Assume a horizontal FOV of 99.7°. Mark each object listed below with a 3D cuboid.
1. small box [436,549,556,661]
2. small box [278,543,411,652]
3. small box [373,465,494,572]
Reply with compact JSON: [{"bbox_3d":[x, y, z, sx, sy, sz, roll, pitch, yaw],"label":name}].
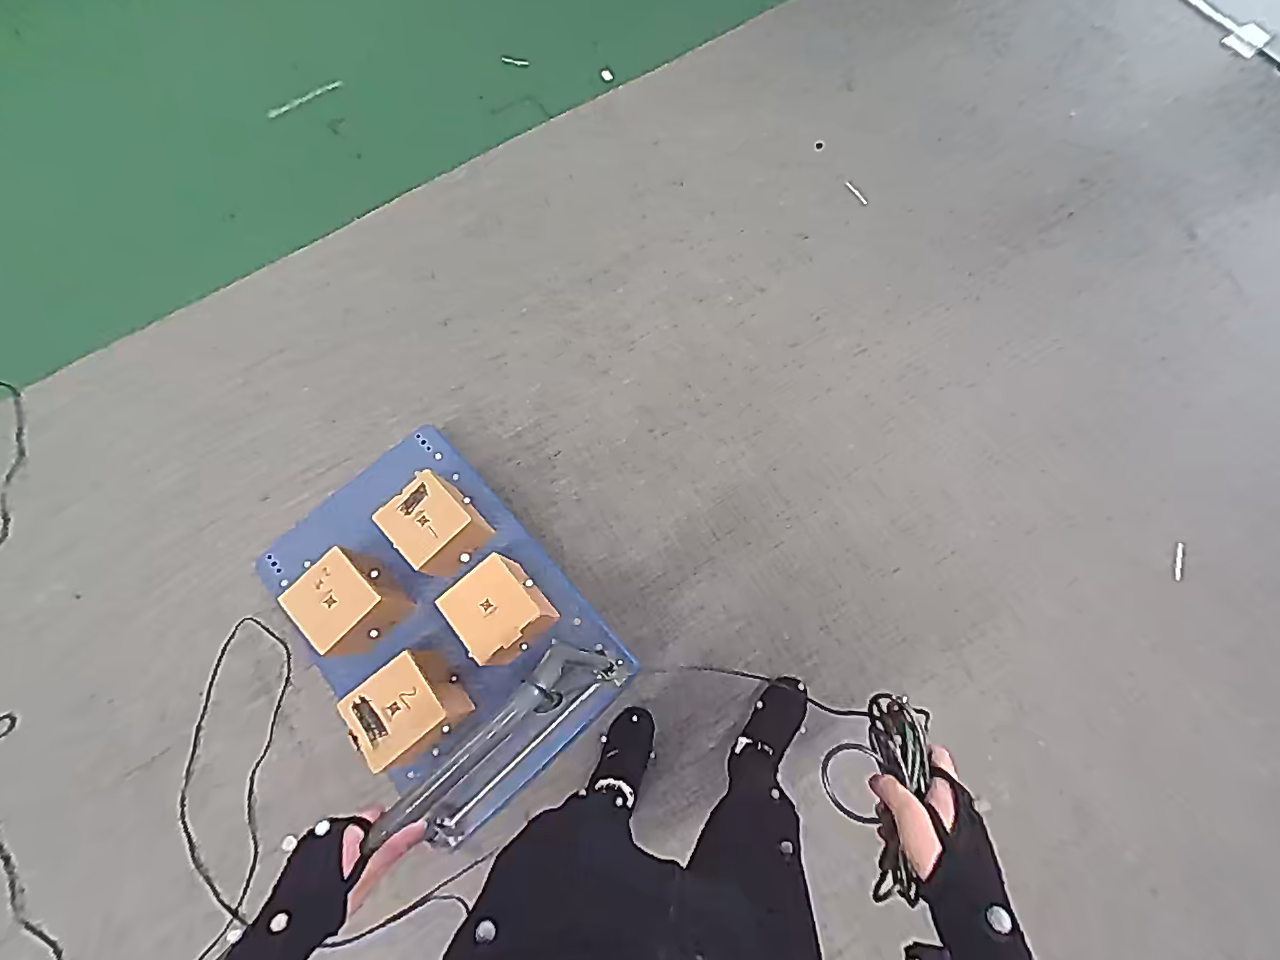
[{"bbox_3d":[-0.315,0.285,1.212,0.168,0.176,0.179,-40,75,-8],"label":"small box"},{"bbox_3d":[-0.667,0.273,1.242,0.179,0.176,0.168,43,80,15],"label":"small box"},{"bbox_3d":[-0.481,0.100,1.281,0.168,0.176,0.179,-43,75,-8],"label":"small box"}]
